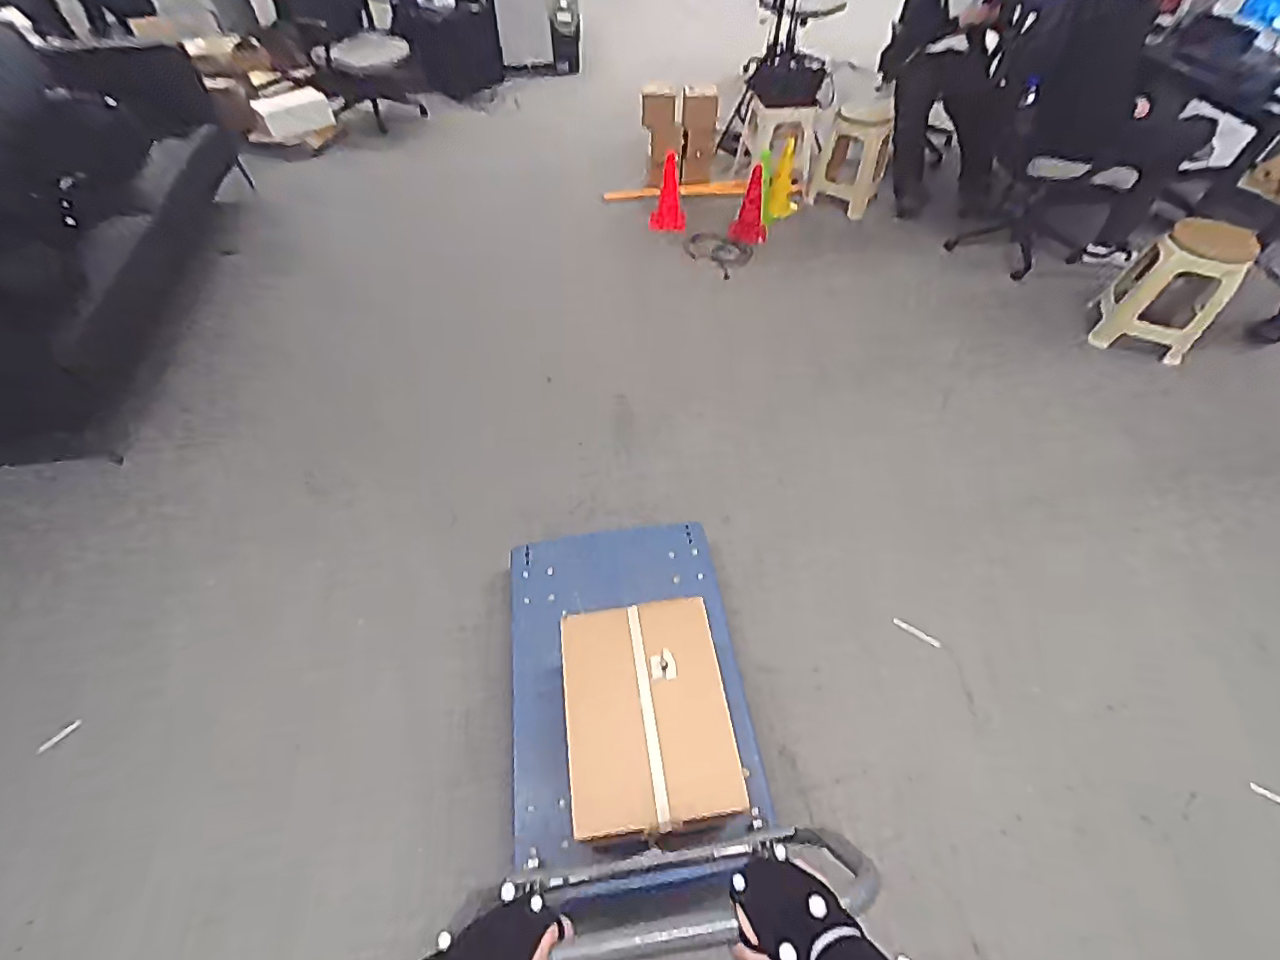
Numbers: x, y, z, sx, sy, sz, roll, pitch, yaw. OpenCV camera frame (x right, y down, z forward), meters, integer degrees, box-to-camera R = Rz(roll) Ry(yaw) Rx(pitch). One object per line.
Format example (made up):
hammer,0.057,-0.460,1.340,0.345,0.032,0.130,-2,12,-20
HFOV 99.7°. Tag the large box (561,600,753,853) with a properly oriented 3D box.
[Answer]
large box,0.018,0.523,1.154,0.320,0.320,0.408,-7,53,-5
